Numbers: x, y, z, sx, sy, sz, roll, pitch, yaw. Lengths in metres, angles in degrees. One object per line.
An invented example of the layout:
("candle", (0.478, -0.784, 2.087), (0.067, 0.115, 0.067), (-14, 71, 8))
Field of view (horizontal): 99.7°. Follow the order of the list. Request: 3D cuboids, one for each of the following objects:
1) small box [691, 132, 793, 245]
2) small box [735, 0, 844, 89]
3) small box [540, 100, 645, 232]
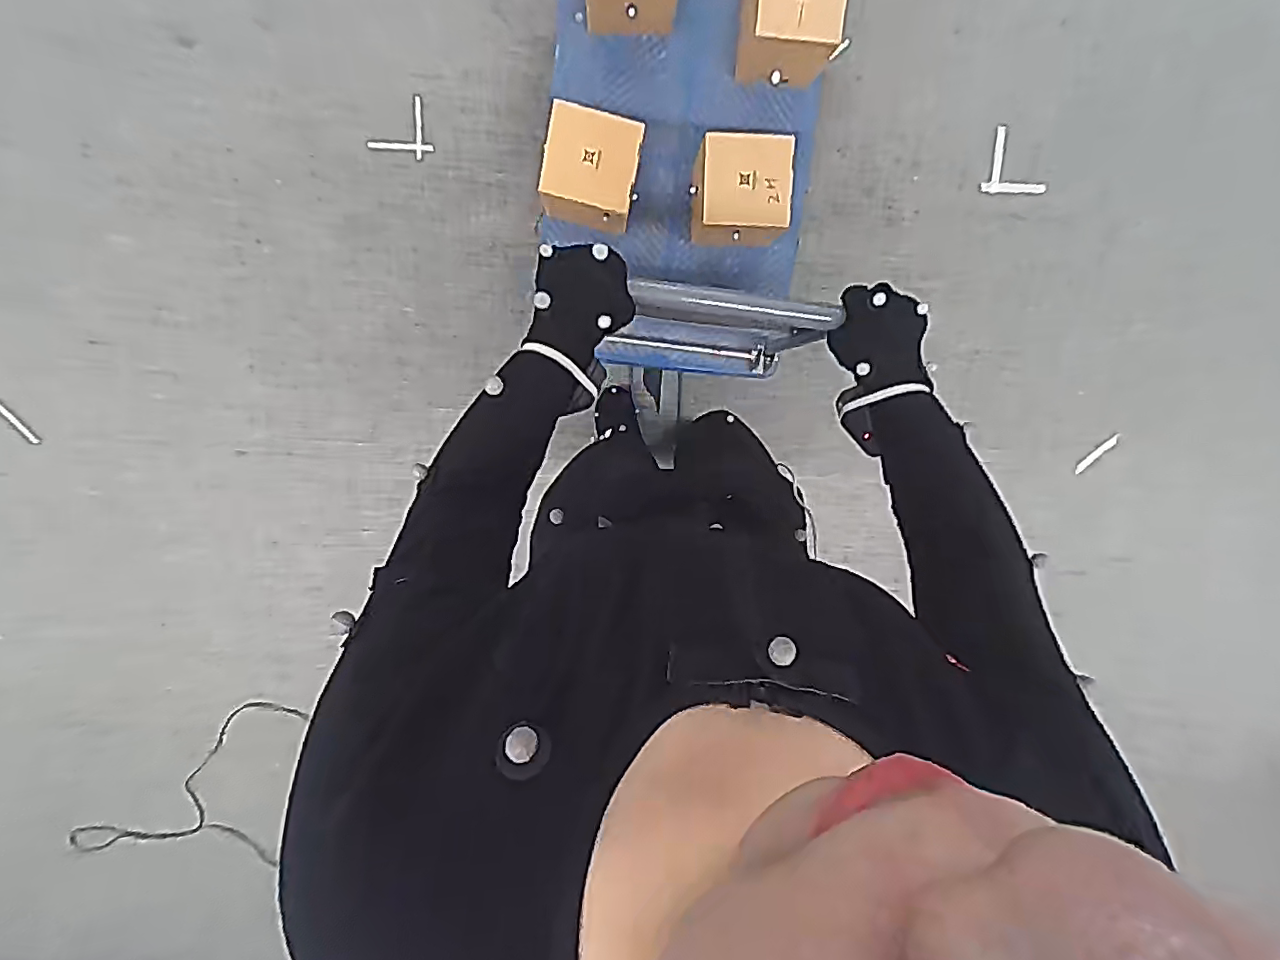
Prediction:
("small box", (0.204, -0.600, 1.132), (0.179, 0.176, 0.168), (0, 101, -4))
("small box", (0.293, -0.923, 1.073), (0.168, 0.176, 0.179), (3, 102, -4))
("small box", (-0.098, -0.628, 1.106), (0.179, 0.176, 0.168), (11, 99, -8))
